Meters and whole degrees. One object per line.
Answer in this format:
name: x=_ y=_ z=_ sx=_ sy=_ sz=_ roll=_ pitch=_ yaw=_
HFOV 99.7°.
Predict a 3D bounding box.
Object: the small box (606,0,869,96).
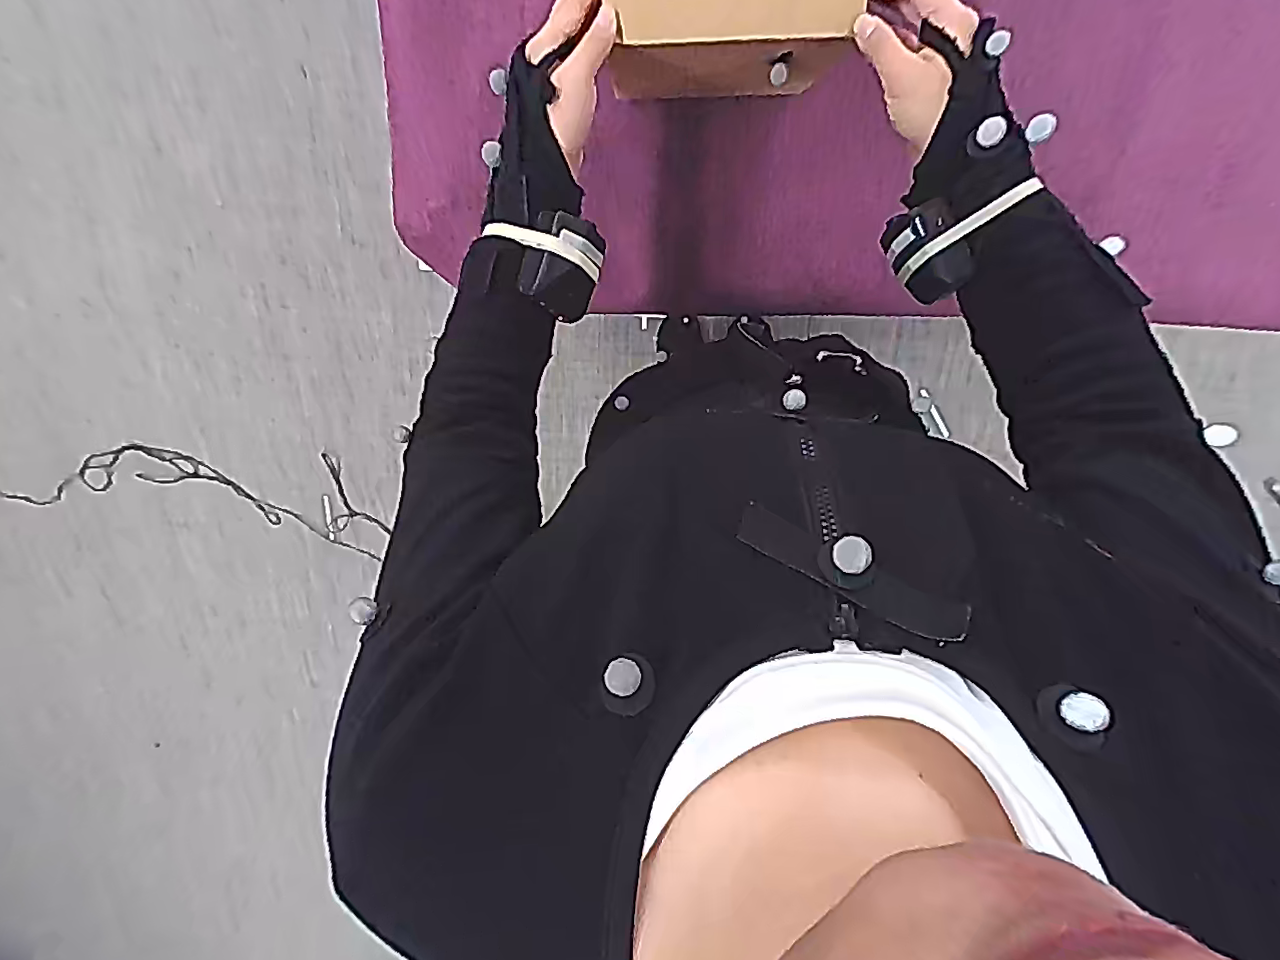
small box: x=0.064 y=-0.403 z=0.402 sx=0.179 sy=0.176 sz=0.168 roll=-1 pitch=114 yaw=2
